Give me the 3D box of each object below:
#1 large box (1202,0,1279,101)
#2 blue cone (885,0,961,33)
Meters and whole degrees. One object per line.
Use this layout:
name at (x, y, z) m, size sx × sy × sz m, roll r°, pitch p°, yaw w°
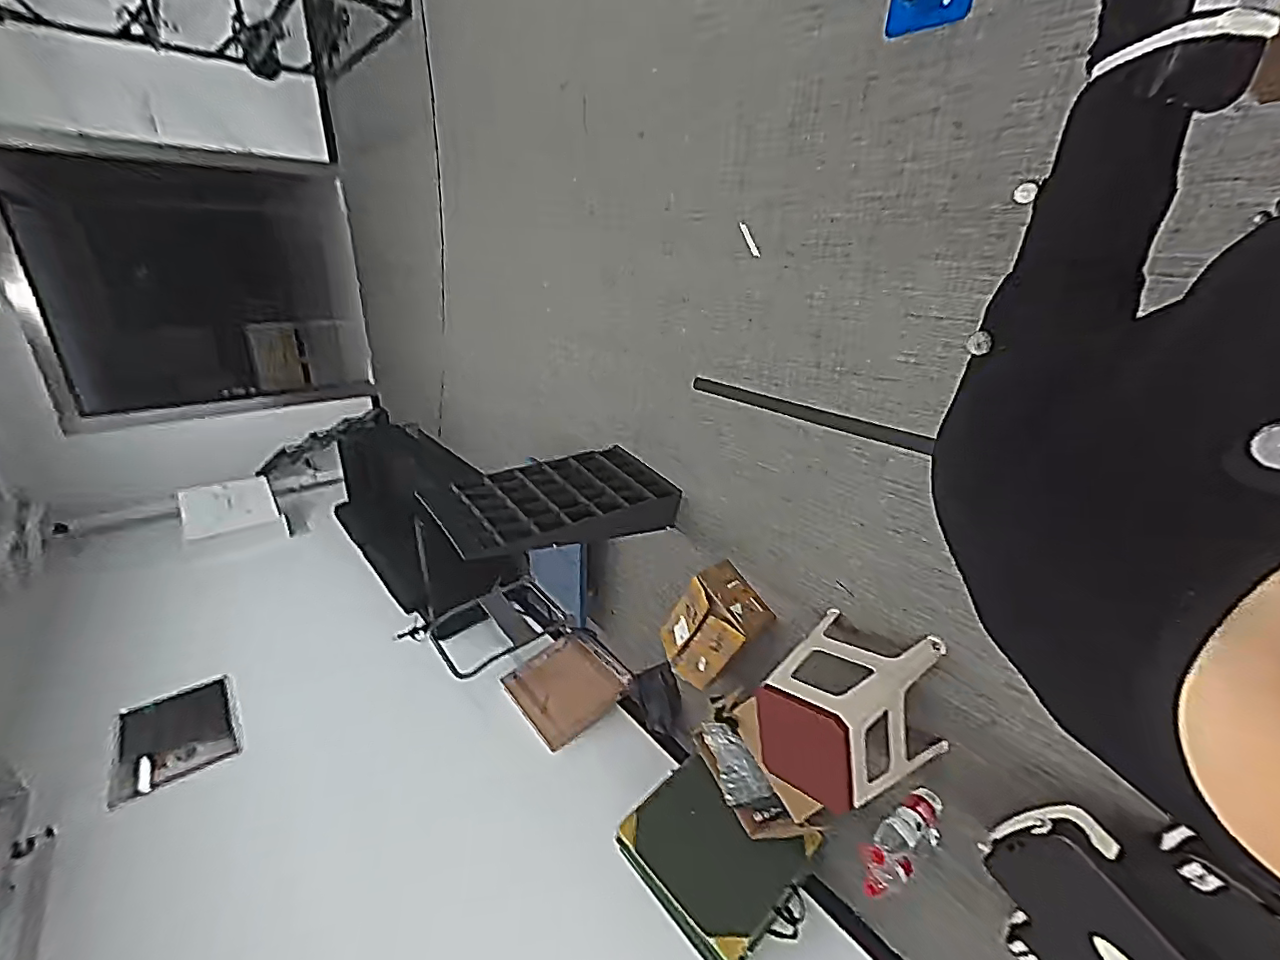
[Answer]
large box at (0.606, -0.432, 0.256) m, size 0.408 × 0.320 × 0.320 m, roll 21°, pitch 122°, yaw 47°
blue cone at (0.538, -1.129, 1.151) m, size 0.192 × 0.380 × 0.193 m, roll 32°, pitch 127°, yaw 44°
